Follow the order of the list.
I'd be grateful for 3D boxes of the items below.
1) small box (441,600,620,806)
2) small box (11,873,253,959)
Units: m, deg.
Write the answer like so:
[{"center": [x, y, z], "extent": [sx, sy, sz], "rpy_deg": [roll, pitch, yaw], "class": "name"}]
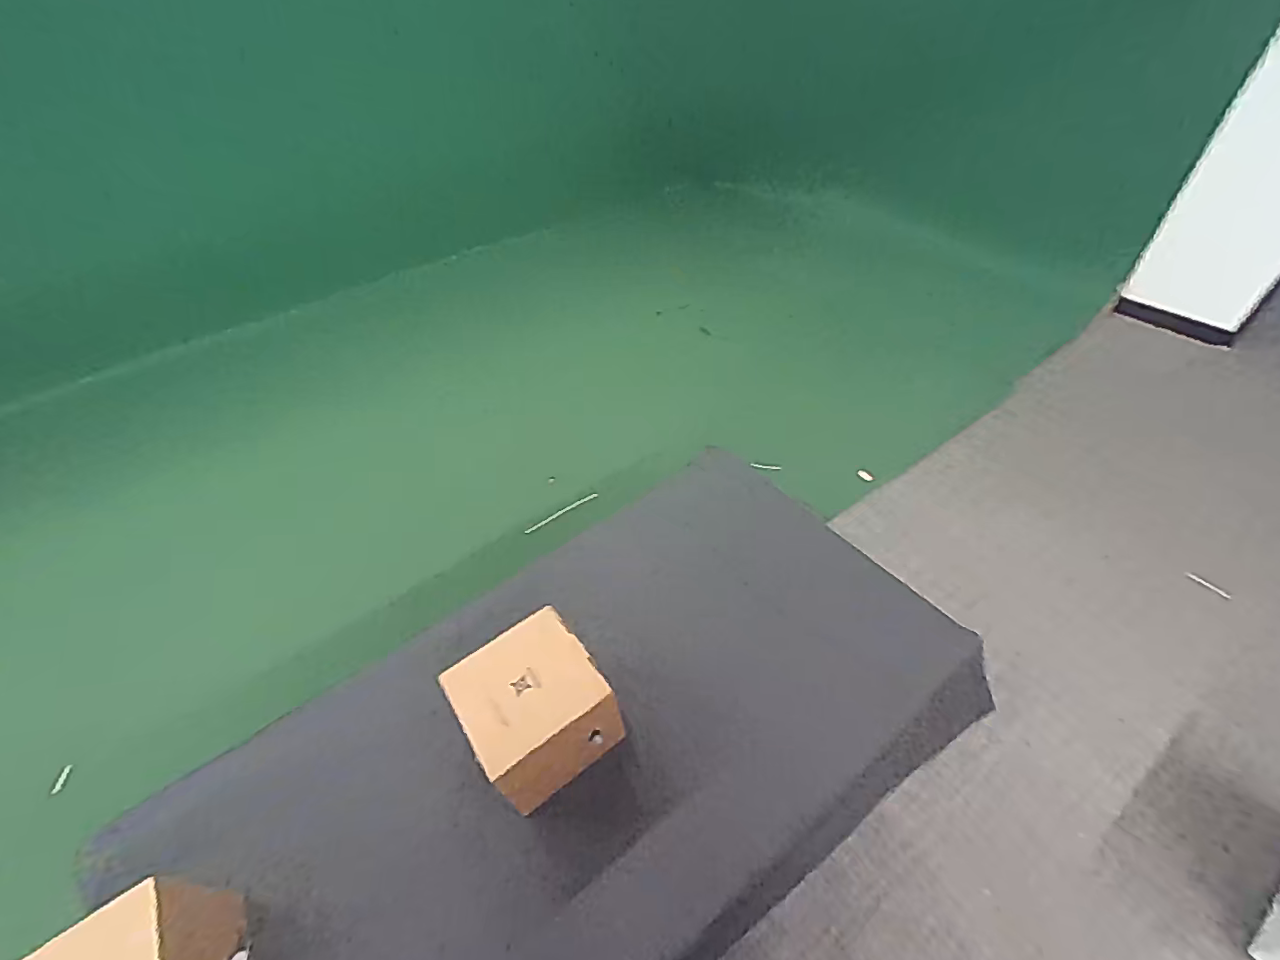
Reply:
[{"center": [-0.140, 0.309, 0.752], "extent": [0.179, 0.176, 0.168], "rpy_deg": [-32, 52, -21], "class": "small box"}, {"center": [-0.534, 0.555, 0.552], "extent": [0.179, 0.176, 0.168], "rpy_deg": [-30, 52, -23], "class": "small box"}]
